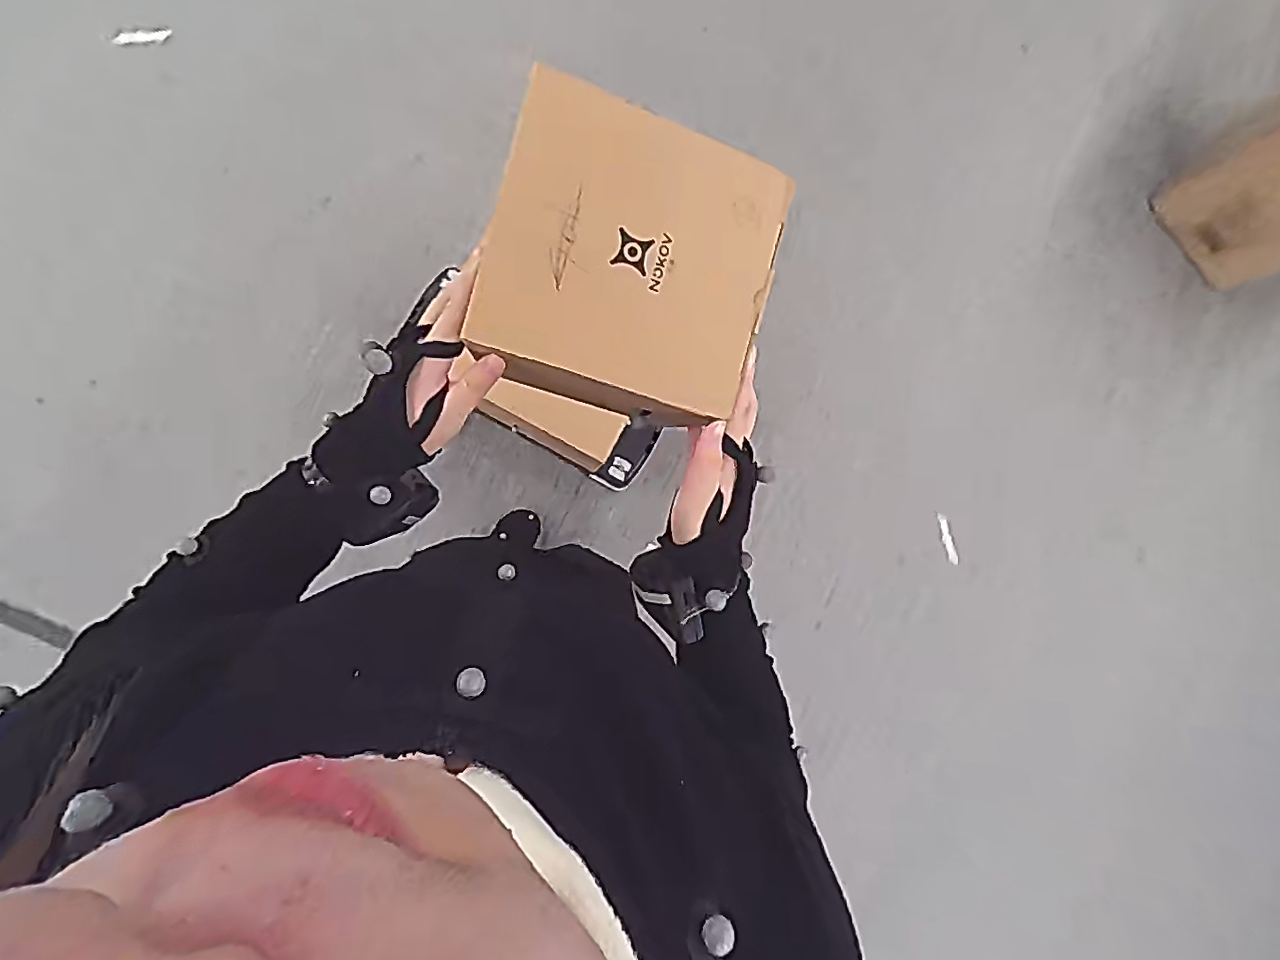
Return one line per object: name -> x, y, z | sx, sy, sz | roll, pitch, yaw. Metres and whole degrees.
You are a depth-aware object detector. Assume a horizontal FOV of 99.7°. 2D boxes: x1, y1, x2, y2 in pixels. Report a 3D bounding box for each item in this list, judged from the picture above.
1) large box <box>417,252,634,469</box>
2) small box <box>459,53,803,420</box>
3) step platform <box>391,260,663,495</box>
large box -> -0.185, -0.250, 1.167 | 0.408, 0.320, 0.320 | 29, 83, -5
small box -> -0.016, -0.145, 0.398 | 0.179, 0.176, 0.168 | 15, 91, -12
step platform -> -0.274, -0.249, 1.395 | 0.684, 0.204, 0.286 | 34, 83, -5
